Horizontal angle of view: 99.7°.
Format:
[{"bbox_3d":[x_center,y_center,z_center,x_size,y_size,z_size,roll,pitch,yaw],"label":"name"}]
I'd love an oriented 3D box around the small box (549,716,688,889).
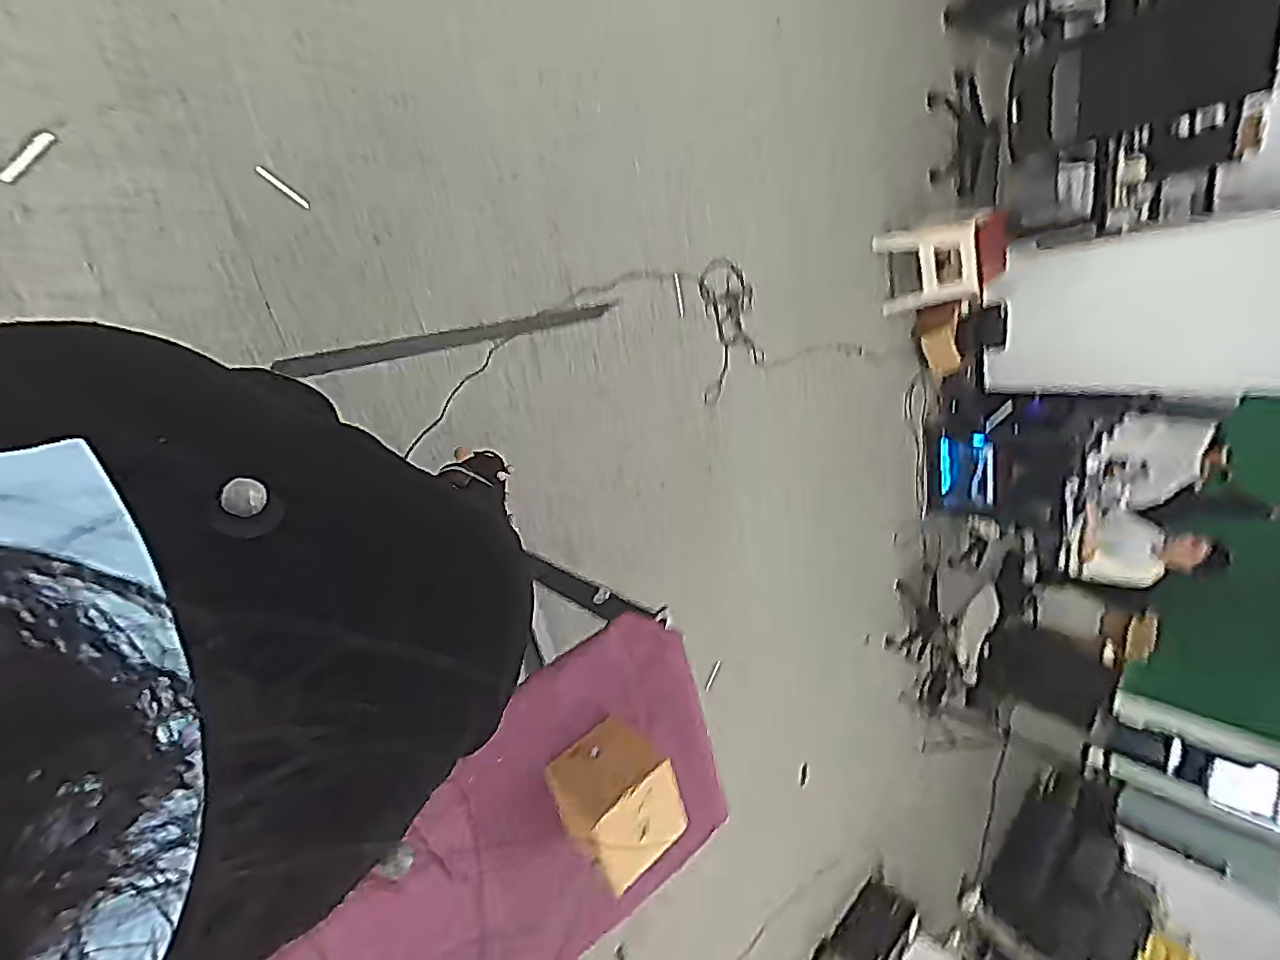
[{"bbox_3d":[-0.041,0.576,0.990,0.168,0.176,0.179,-27,114,-32],"label":"small box"}]
